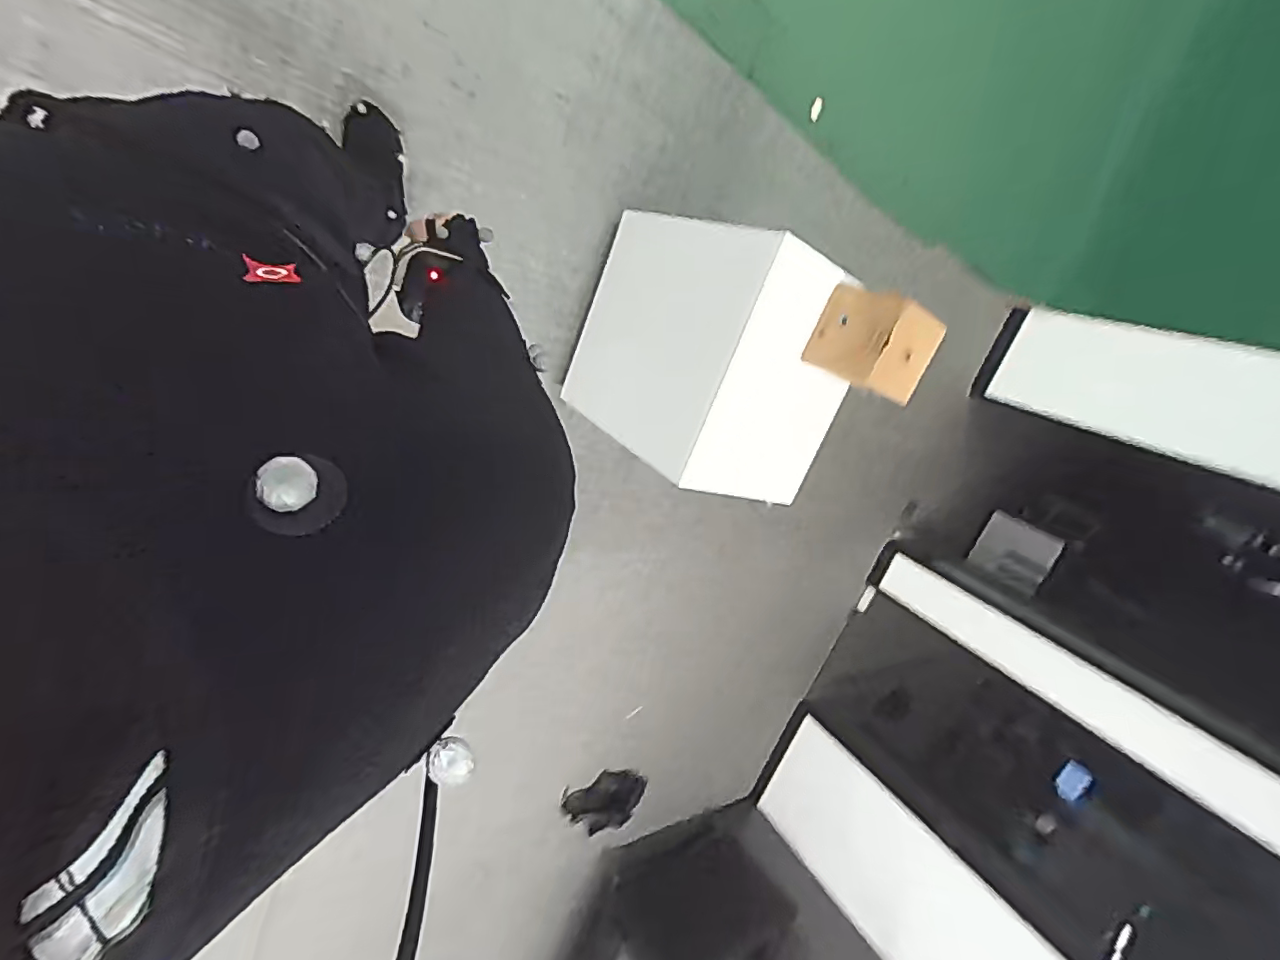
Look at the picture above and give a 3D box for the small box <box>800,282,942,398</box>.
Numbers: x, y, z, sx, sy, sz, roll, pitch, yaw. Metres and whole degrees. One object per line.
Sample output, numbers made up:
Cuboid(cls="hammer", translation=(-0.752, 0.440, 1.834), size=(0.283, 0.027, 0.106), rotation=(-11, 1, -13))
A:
Cuboid(cls="small box", translation=(0.466, -0.289, 1.104), size=(0.179, 0.176, 0.168), rotation=(9, 111, -40))
